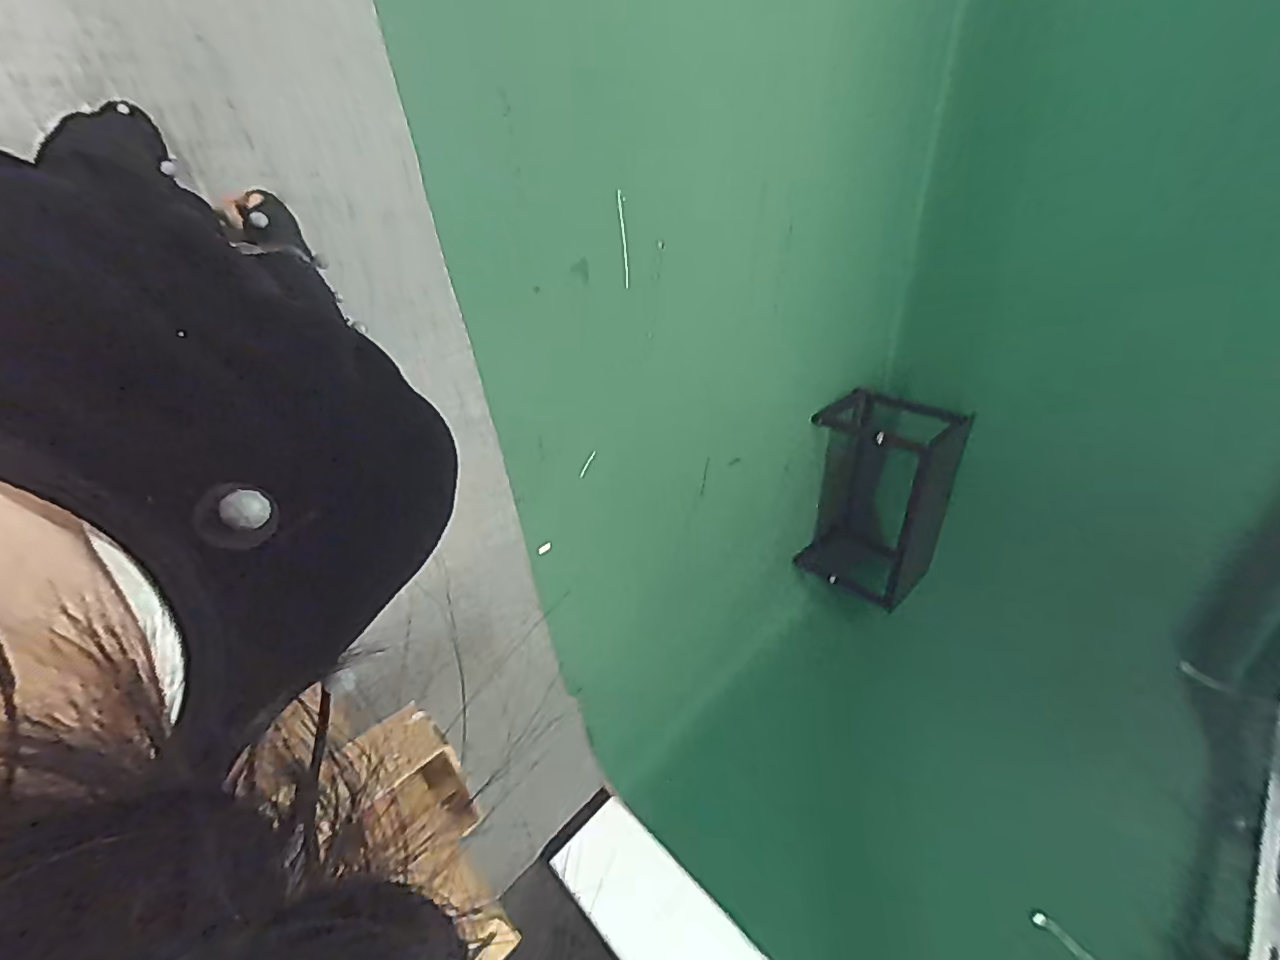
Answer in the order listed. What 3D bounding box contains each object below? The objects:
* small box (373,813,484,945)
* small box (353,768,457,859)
[{"bbox_3d":[-0.512,0.952,1.305,0.168,0.176,0.179,-33,131,-31],"label":"small box"},{"bbox_3d":[-0.617,0.903,1.422,0.168,0.176,0.179,-34,132,-31],"label":"small box"}]
